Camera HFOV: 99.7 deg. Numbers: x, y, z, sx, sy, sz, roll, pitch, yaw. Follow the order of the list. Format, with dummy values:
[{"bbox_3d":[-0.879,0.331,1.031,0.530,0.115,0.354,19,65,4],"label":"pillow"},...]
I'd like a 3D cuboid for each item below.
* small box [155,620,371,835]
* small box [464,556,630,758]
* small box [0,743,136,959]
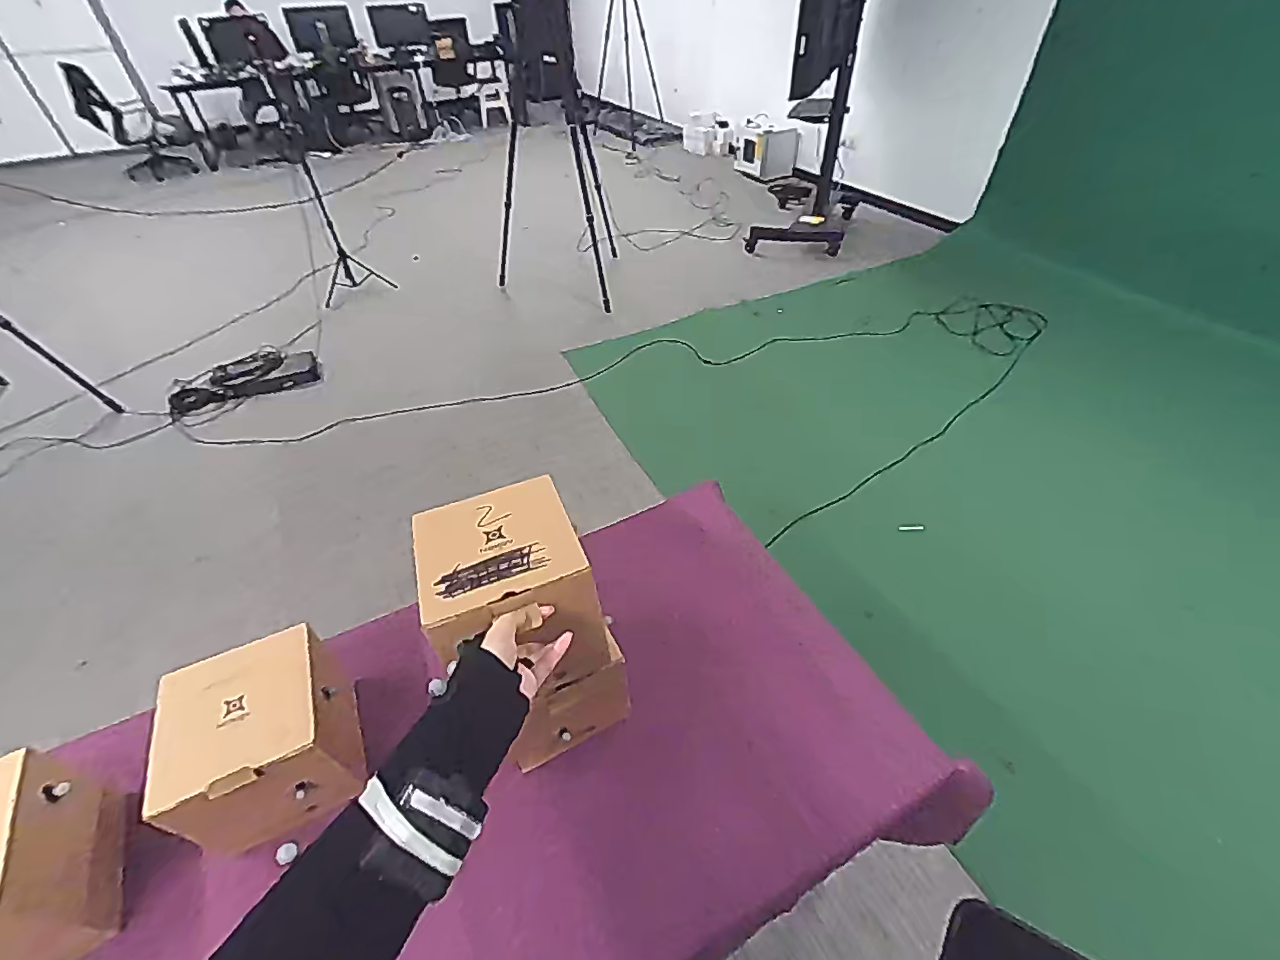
[{"bbox_3d":[-0.464,0.320,0.692,0.168,0.176,0.179,-20,47,-18],"label":"small box"},{"bbox_3d":[-0.125,0.244,0.750,0.168,0.176,0.179,-22,48,-18],"label":"small box"},{"bbox_3d":[-0.700,0.435,0.588,0.168,0.176,0.179,-25,49,-21],"label":"small box"}]
